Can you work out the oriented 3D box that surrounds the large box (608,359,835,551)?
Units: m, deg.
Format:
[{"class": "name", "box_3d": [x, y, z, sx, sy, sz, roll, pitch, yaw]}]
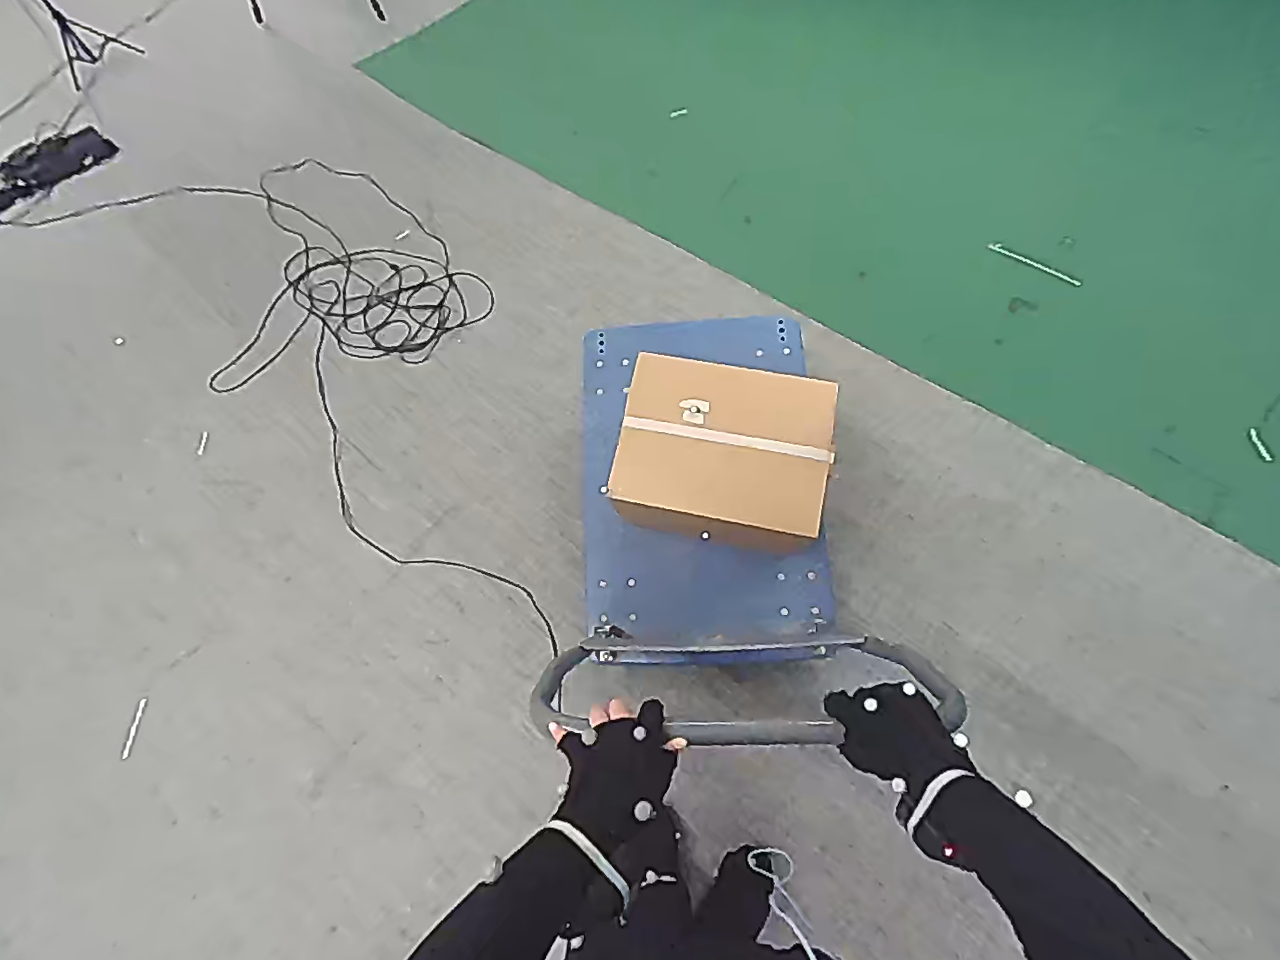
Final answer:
[{"class": "large box", "box_3d": [0.178, -0.038, 1.193, 0.408, 0.320, 0.320, 11, 77, 9]}]
